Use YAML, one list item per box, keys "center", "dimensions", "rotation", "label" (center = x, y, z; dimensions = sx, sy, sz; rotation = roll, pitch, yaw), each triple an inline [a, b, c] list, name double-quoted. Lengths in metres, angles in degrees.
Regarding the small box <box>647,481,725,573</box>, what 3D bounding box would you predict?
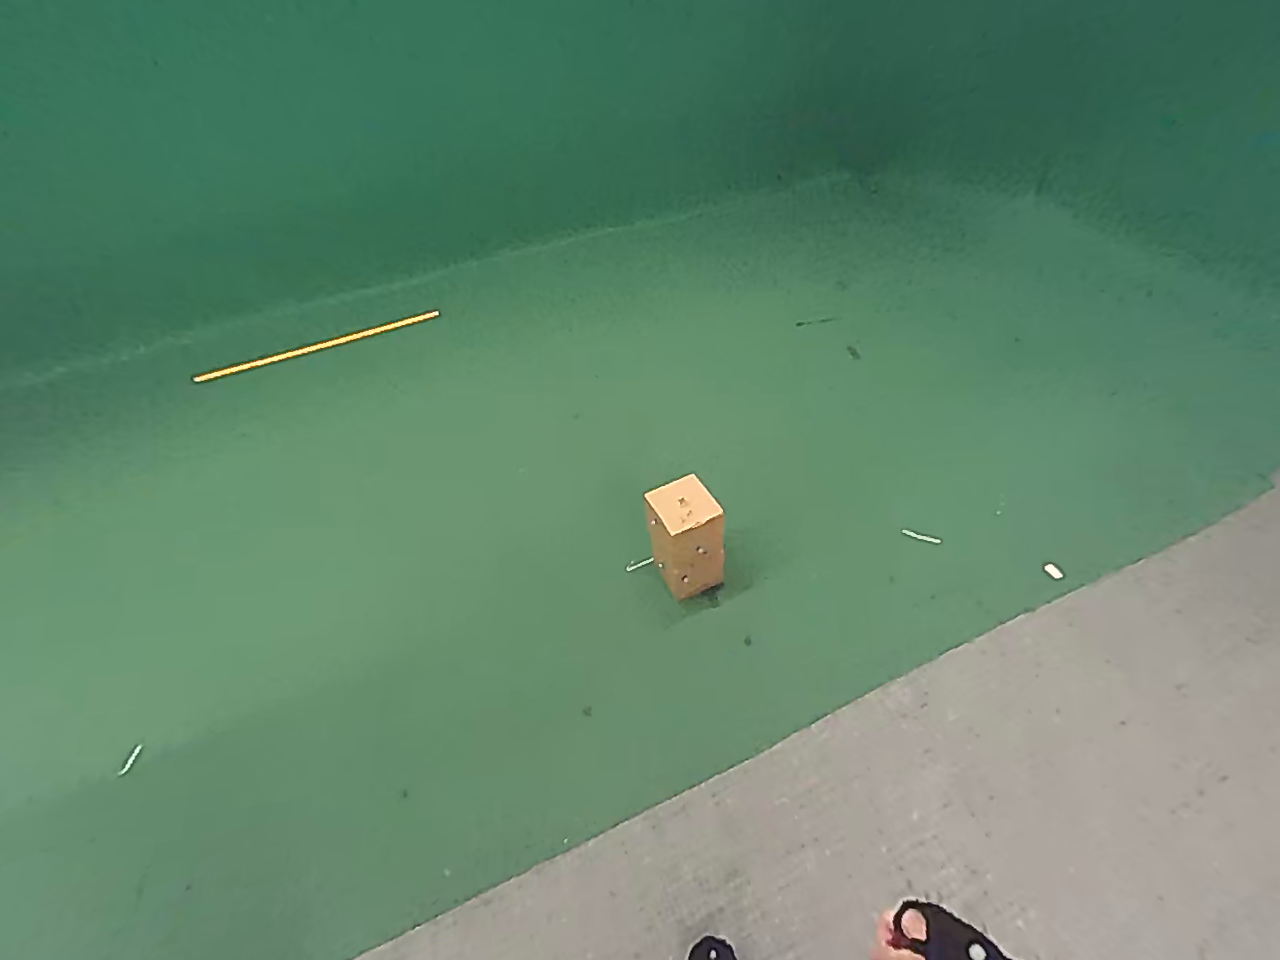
- center: [0.132, 0.139, 1.578]
  dimensions: [0.168, 0.176, 0.179]
  rotation: [-22, 48, -14]
  label: "small box"
